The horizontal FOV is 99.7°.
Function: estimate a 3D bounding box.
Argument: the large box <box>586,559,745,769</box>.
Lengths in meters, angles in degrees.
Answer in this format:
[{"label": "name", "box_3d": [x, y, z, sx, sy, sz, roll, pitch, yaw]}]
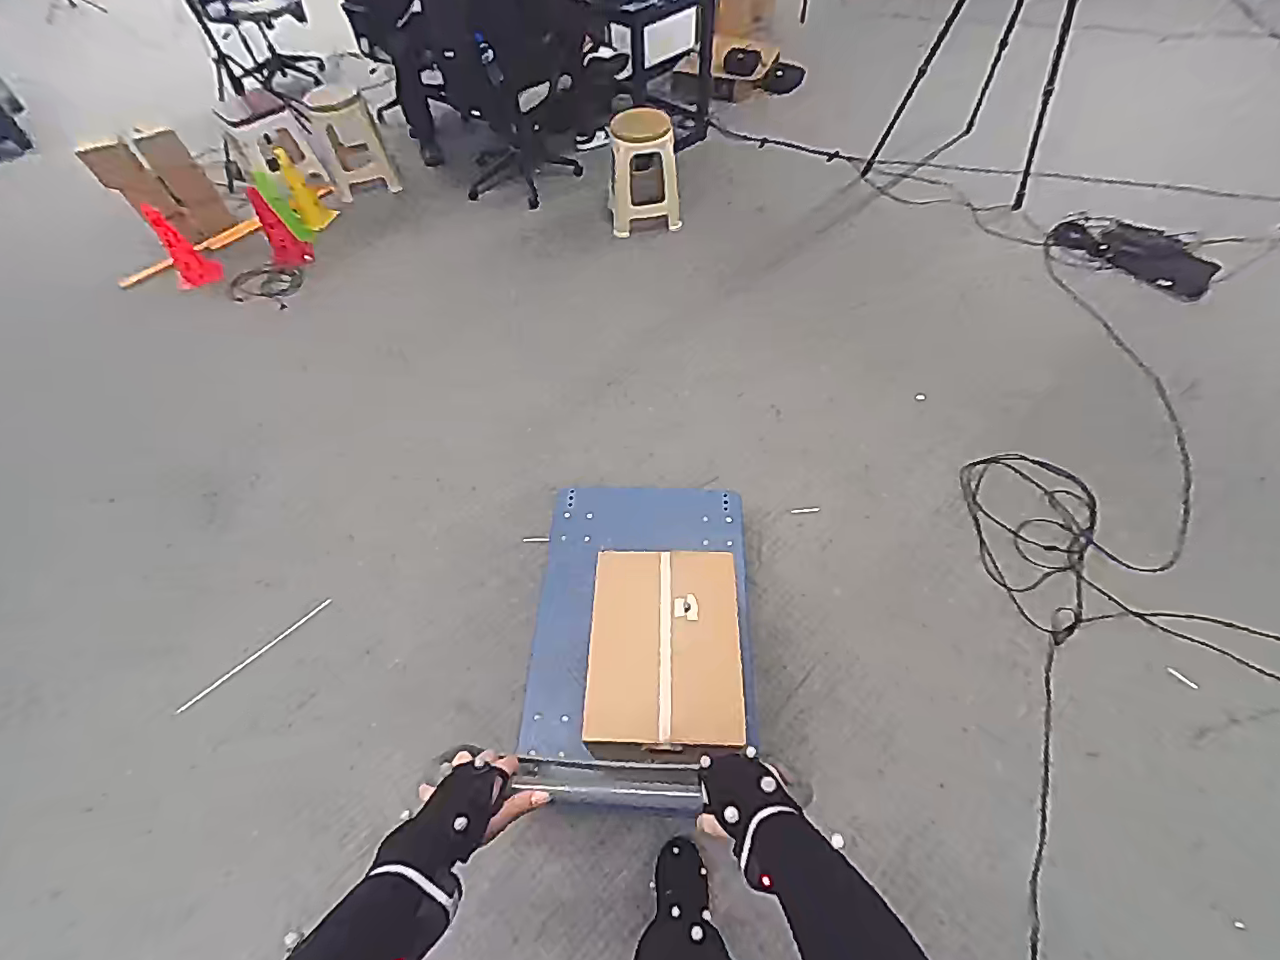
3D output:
[{"label": "large box", "box_3d": [0.058, 0.435, 1.268, 0.320, 0.320, 0.408, 1, 54, 2]}]
